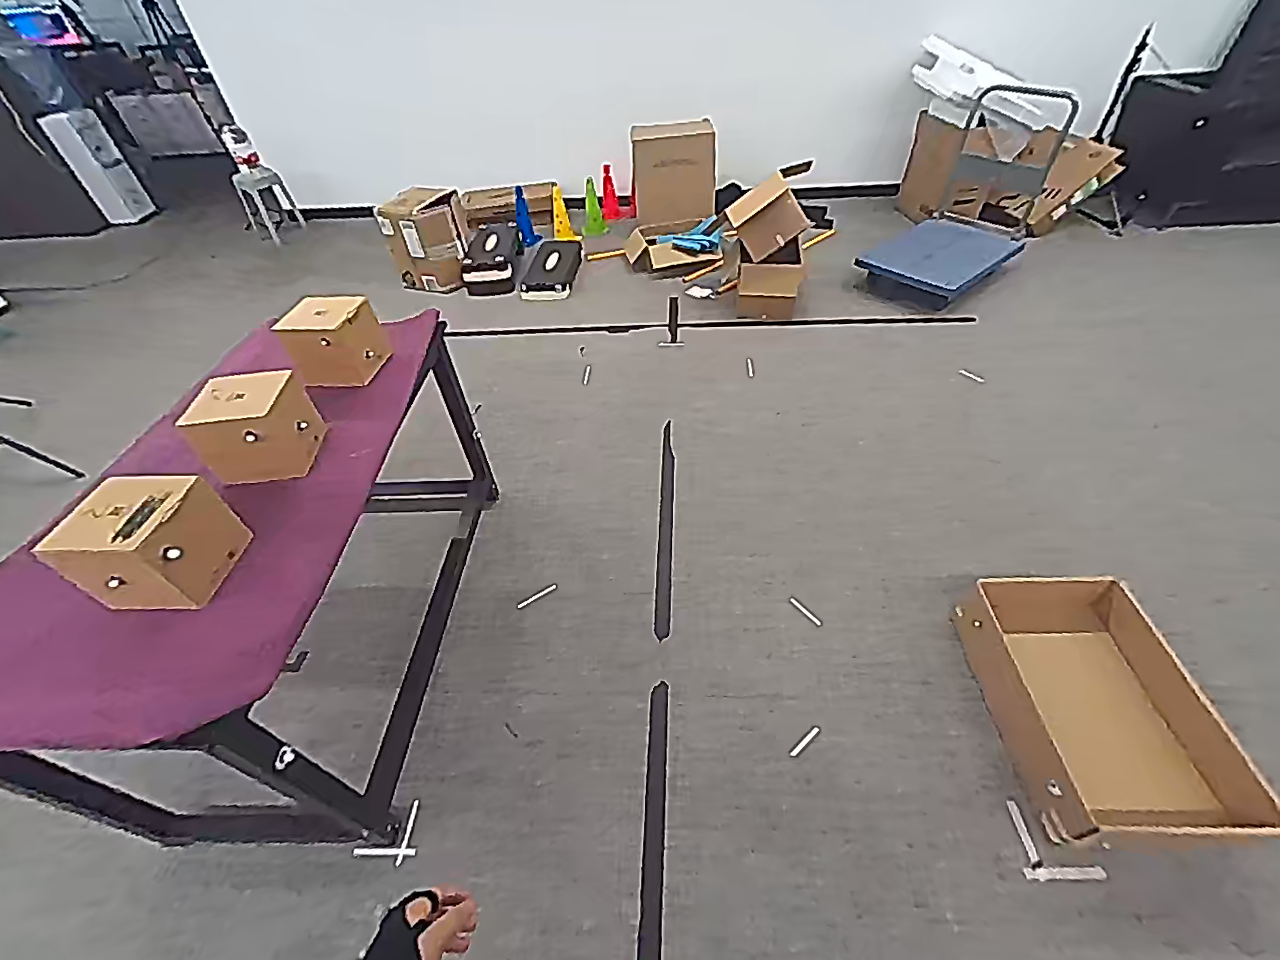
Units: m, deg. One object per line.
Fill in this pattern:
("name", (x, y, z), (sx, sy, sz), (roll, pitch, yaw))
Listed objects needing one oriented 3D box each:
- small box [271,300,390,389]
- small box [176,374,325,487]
("small box", (-0.790, -0.348, 1.401), (0.179, 0.176, 0.168), (1, 45, 8))
("small box", (-0.815, -0.104, 1.158), (0.179, 0.176, 0.168), (-8, 44, -2))
